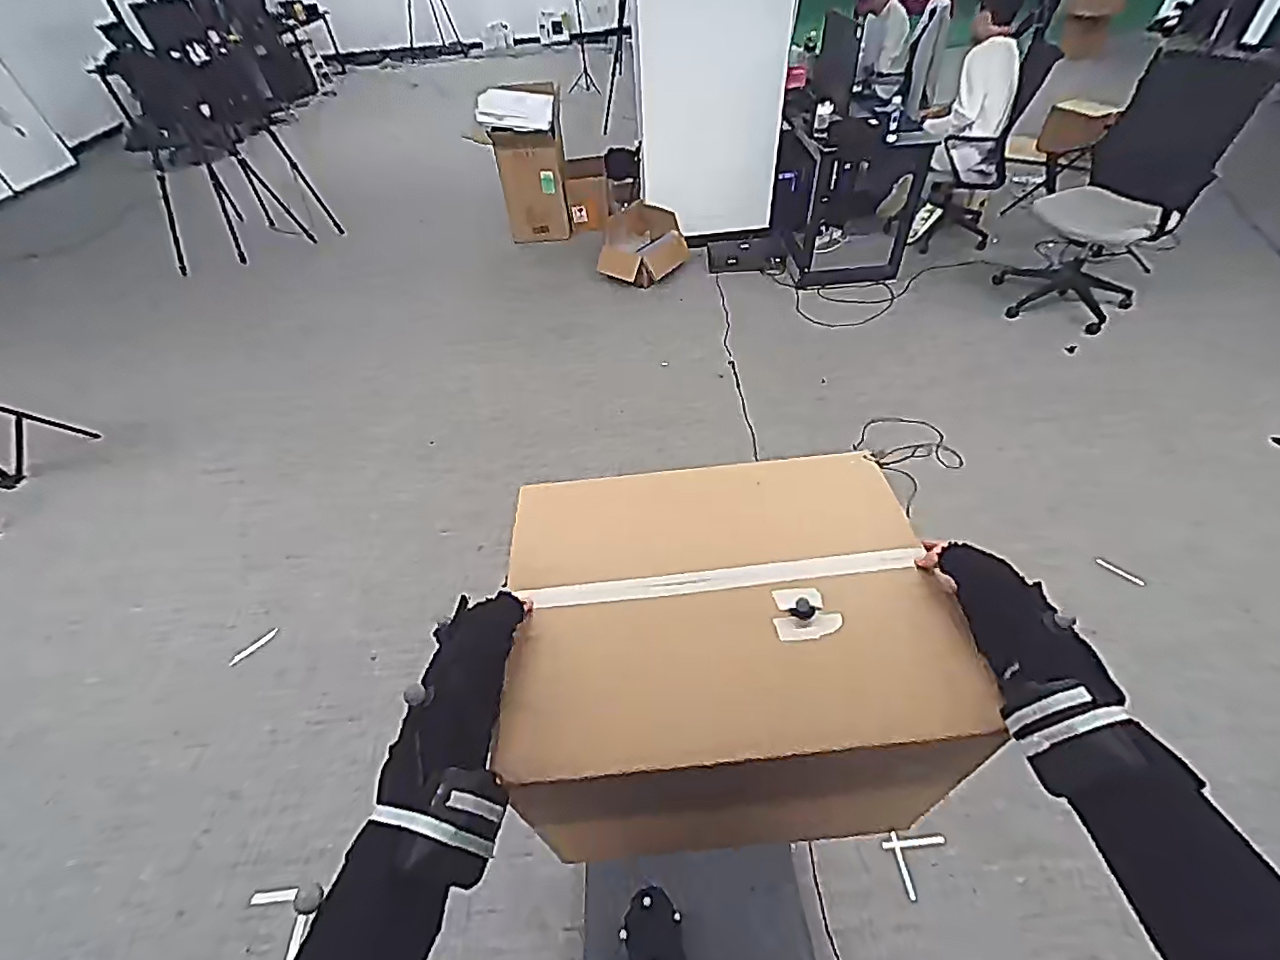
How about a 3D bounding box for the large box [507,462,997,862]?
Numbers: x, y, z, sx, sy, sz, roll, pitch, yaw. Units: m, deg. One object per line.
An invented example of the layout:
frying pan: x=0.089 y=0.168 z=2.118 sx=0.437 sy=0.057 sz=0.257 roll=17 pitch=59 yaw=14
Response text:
large box: x=0.087 y=0.212 z=0.635 sx=0.408 sy=0.320 sz=0.320 roll=-6 pitch=45 yaw=0
